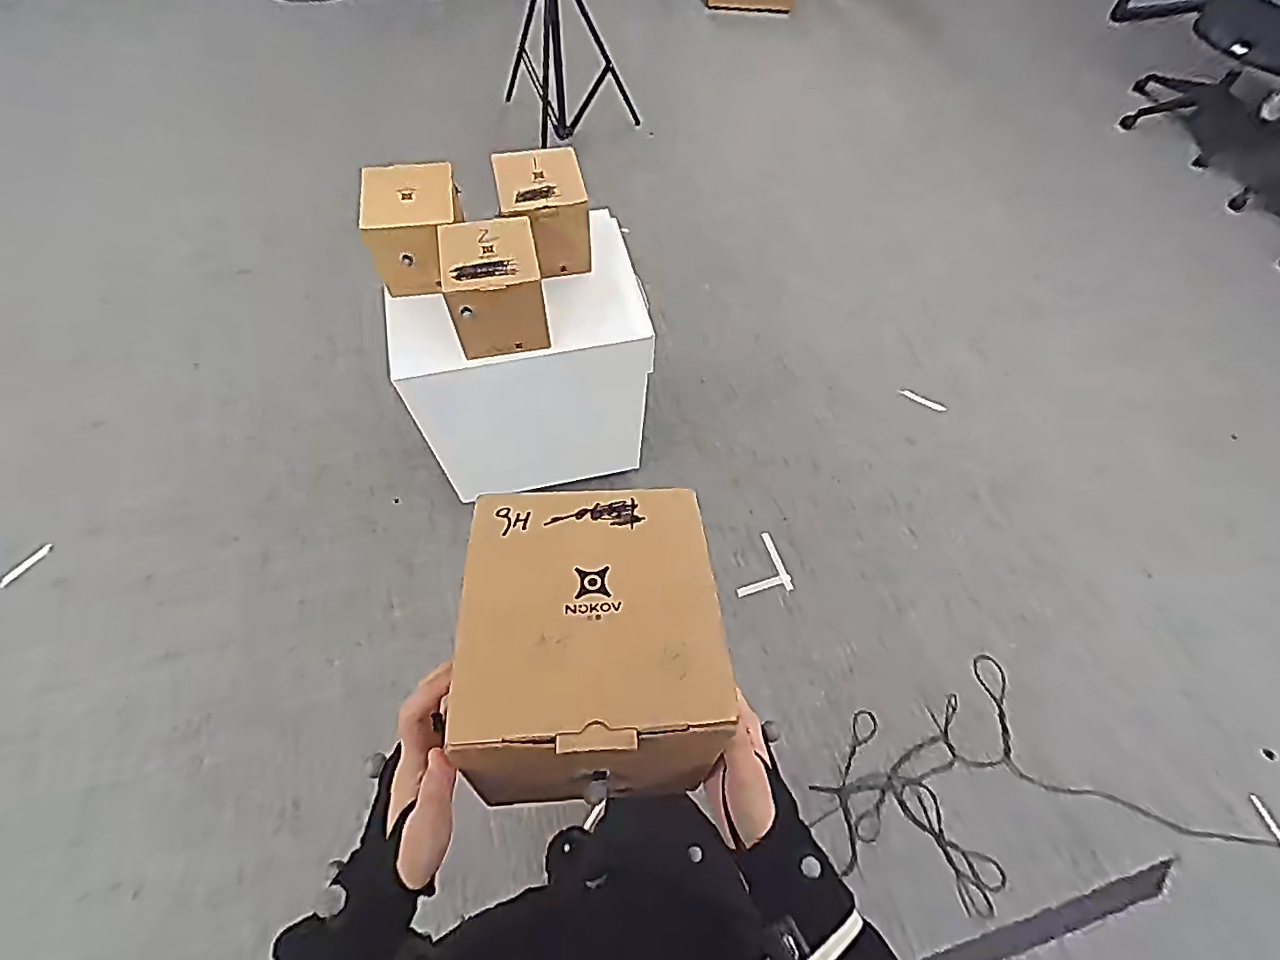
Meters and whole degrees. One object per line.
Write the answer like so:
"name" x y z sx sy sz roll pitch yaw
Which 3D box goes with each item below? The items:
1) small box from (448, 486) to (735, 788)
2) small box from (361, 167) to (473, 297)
"small box" -0.036 0.125 0.415 0.168 0.176 0.179 -1 50 -6
"small box" -0.434 -0.484 1.075 0.168 0.176 0.179 -9 64 -8
